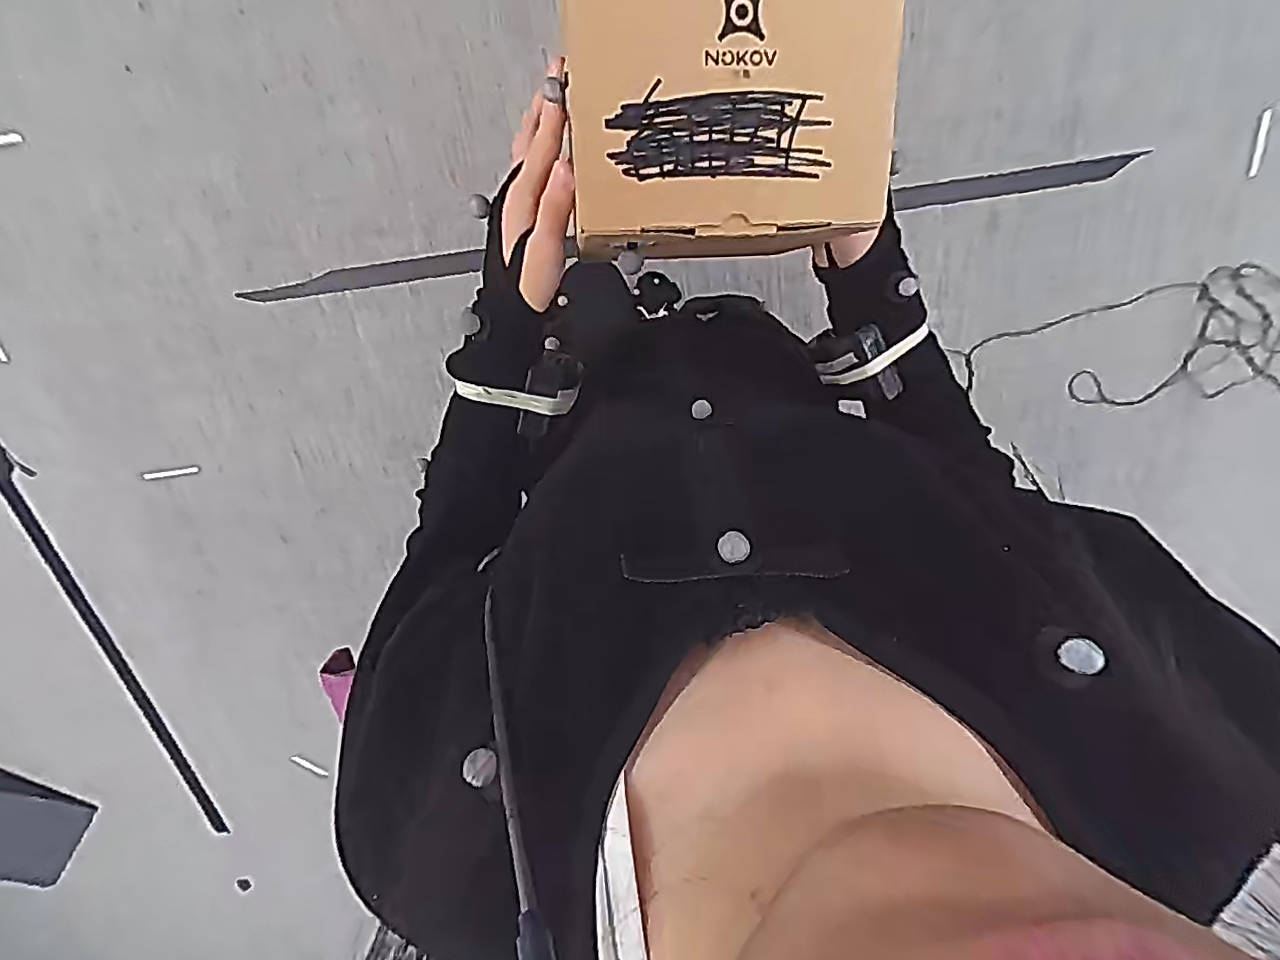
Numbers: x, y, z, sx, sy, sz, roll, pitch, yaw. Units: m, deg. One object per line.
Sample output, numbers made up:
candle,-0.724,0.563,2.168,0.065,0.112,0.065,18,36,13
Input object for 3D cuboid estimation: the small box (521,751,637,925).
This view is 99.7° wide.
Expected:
small box,-0.091,0.577,0.883,0.168,0.176,0.179,-4,111,-2
